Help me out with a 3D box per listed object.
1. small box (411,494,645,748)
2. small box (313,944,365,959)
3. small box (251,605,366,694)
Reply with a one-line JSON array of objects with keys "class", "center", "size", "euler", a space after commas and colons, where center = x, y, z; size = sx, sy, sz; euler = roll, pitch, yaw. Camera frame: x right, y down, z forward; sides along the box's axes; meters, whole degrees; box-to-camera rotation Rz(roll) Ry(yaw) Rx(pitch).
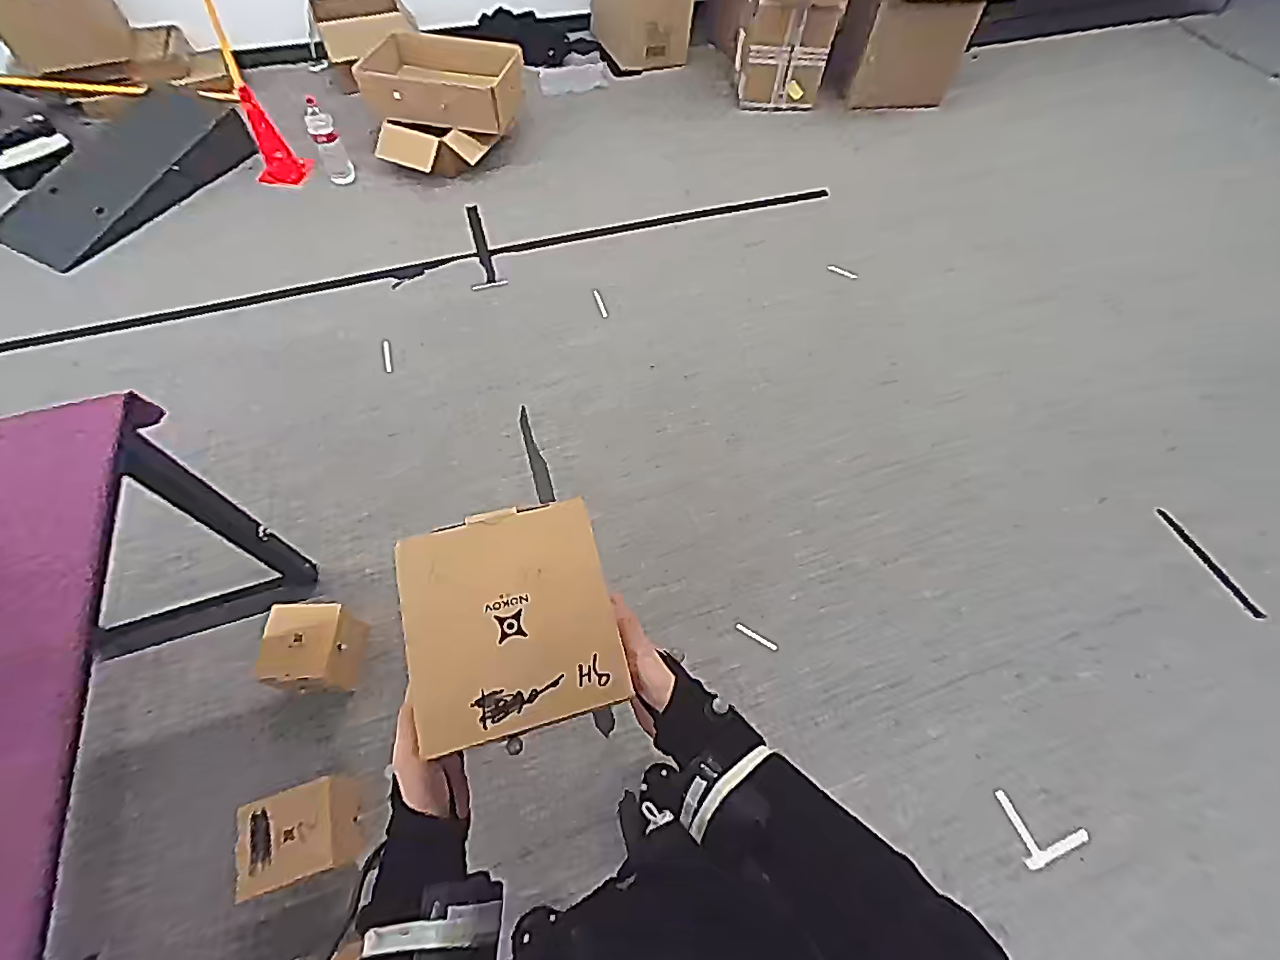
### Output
[{"class": "small box", "center": [-0.101, 0.137, 0.512], "size": [0.168, 0.176, 0.179], "euler": [-13, 68, -9]}, {"class": "small box", "center": [-0.621, 0.995, 0.990], "size": [0.179, 0.176, 0.168], "euler": [-15, 61, -9]}, {"class": "small box", "center": [-0.798, 0.418, 1.326], "size": [0.168, 0.176, 0.179], "euler": [0, 60, -3]}]
